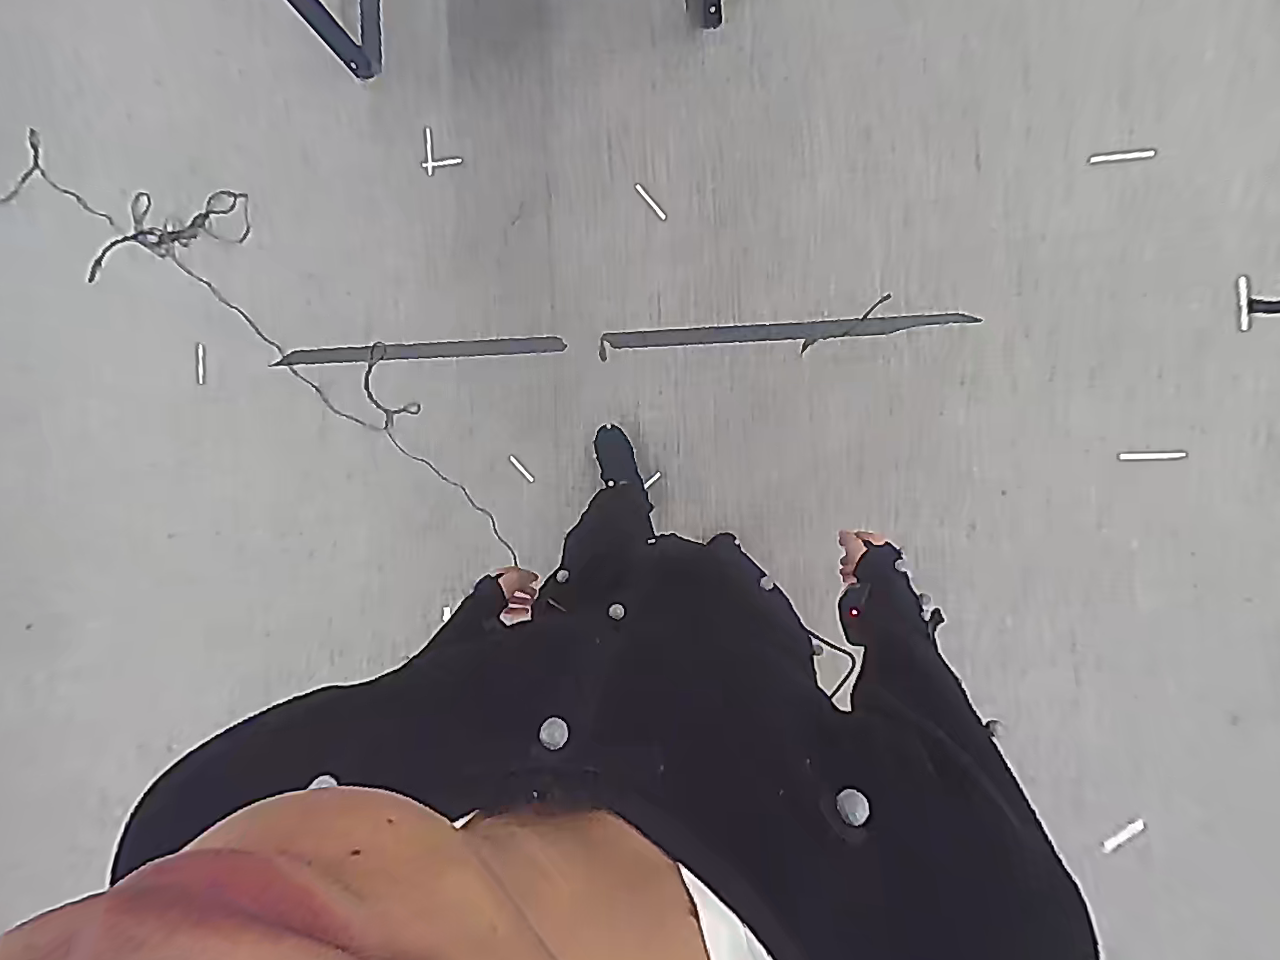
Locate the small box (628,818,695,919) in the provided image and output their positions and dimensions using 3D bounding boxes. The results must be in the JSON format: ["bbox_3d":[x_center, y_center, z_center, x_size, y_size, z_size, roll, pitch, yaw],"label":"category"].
[{"bbox_3d":[0.065,1.102,1.548,0.179,0.176,0.168,0,91,7],"label":"small box"}]
